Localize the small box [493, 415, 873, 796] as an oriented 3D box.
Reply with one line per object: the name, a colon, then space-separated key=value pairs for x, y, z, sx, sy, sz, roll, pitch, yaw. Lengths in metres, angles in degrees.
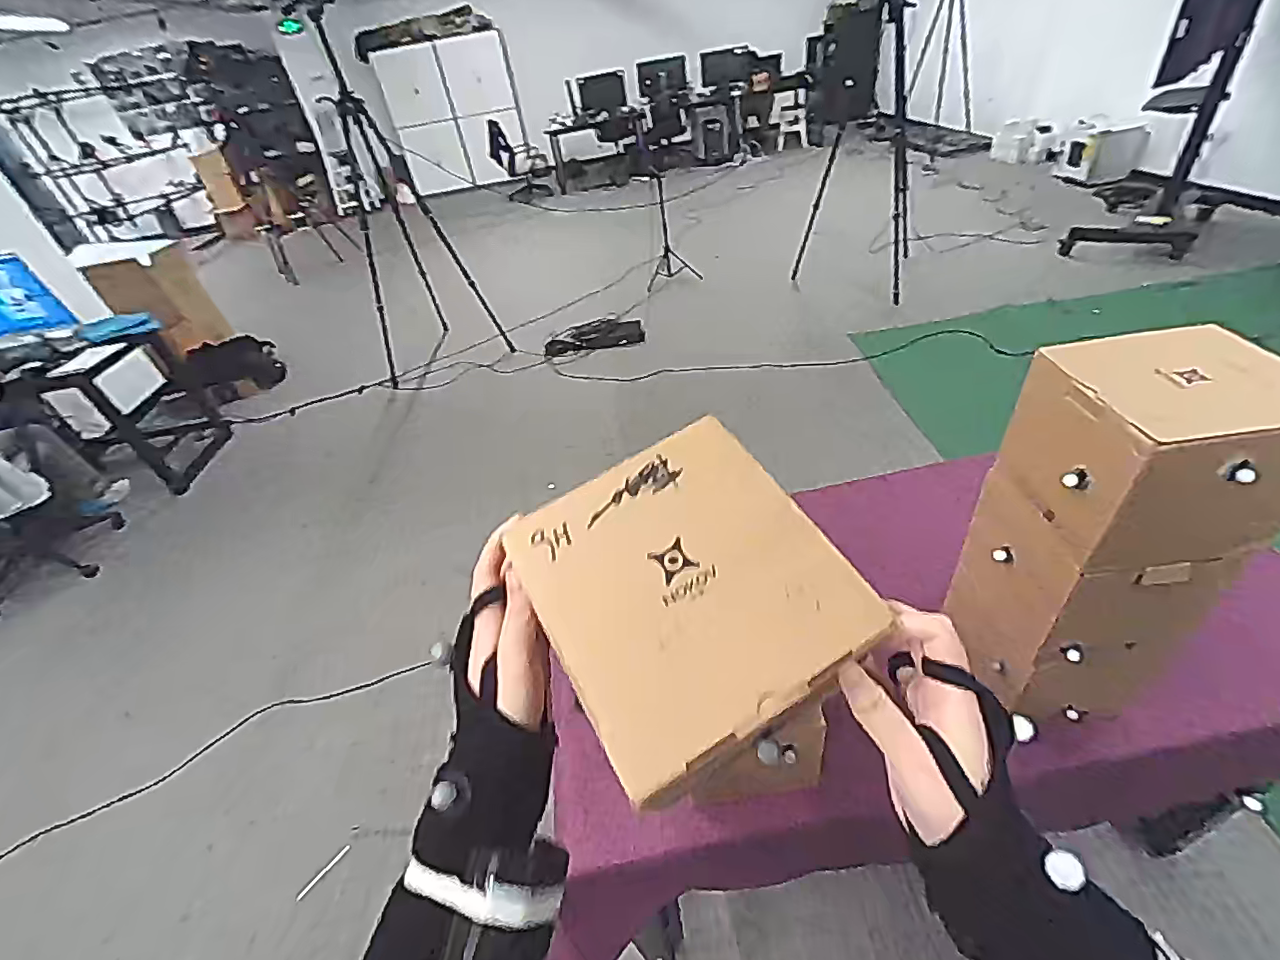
small box: x=0.026 y=0.094 z=0.385 sx=0.168 sy=0.176 sz=0.179 roll=-29 pitch=59 yaw=-10

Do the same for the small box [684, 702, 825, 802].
small box: x=0.135 y=0.310 z=0.736 sx=0.179 sy=0.176 sz=0.168 roll=-11 pitch=38 yaw=2

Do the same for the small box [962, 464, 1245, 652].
small box: x=0.519 y=0.086 z=0.644 sx=0.168 sy=0.176 sz=0.179 roll=-9 pitch=38 yaw=4

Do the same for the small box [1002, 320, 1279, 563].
small box: x=0.495 y=-0.034 z=0.536 sx=0.179 sy=0.176 sz=0.168 roll=-8 pitch=41 yaw=4
